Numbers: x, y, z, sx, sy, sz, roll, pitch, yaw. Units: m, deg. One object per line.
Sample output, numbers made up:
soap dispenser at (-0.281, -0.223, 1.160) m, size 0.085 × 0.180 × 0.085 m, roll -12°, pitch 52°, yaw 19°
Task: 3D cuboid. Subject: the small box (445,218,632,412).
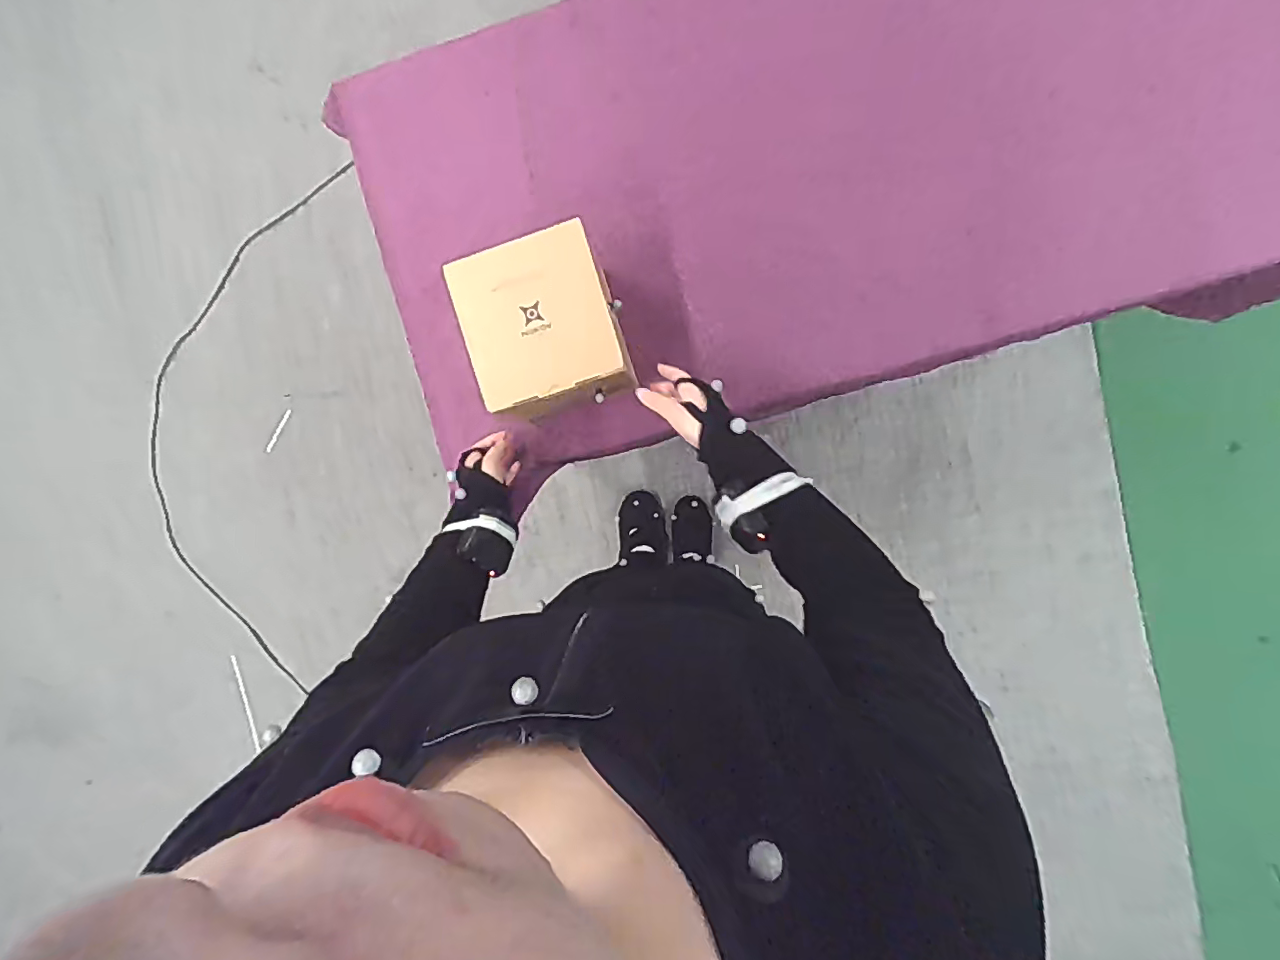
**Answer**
small box at (-0.113, -0.189, 0.679) m, size 0.168 × 0.176 × 0.179 m, roll -16°, pitch 92°, yaw 4°
